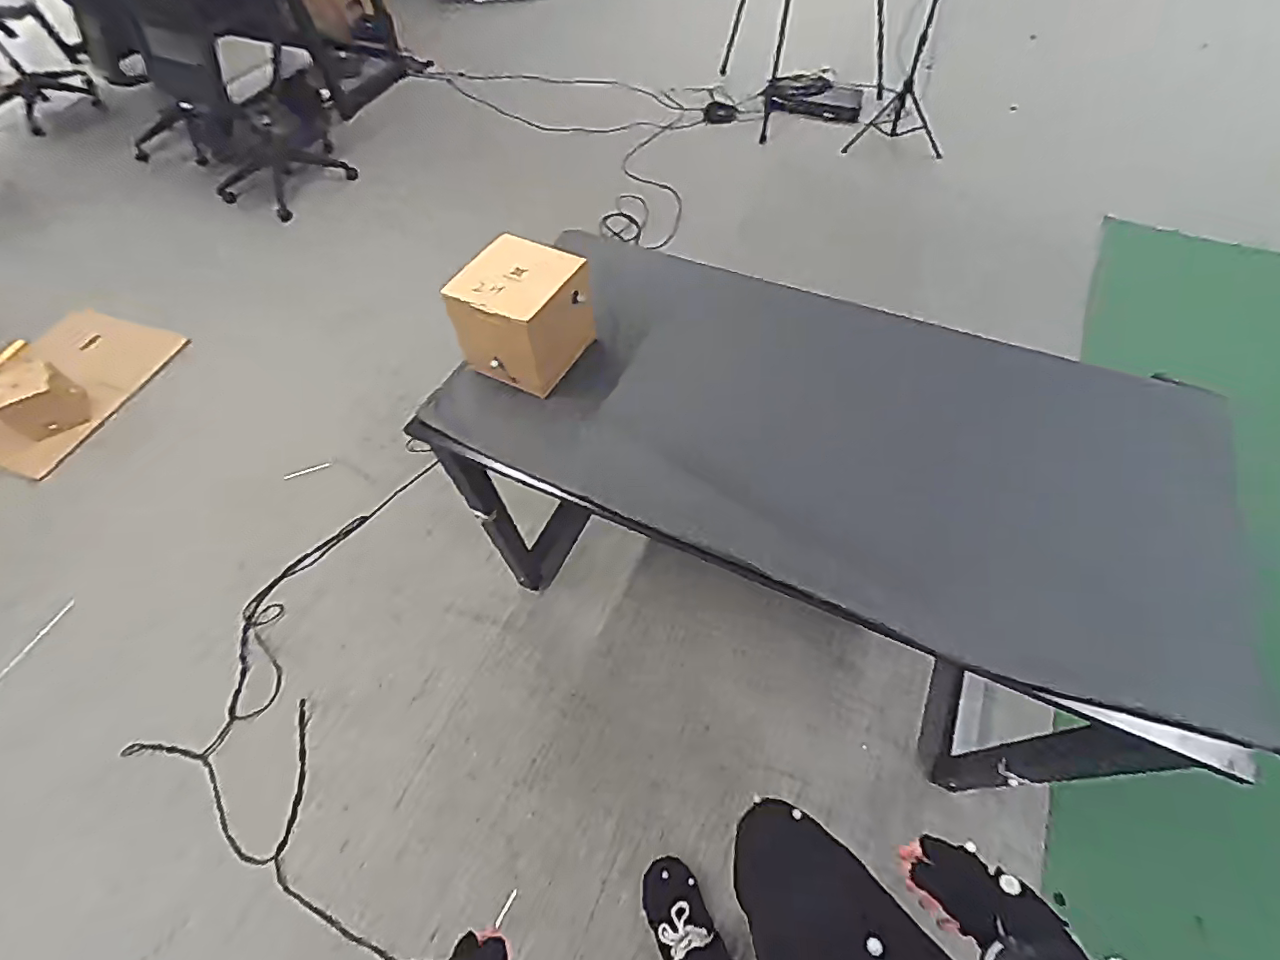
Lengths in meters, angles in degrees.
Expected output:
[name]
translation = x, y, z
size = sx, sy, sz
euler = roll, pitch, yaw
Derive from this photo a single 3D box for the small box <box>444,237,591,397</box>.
[small box]
translation = -0.196, -0.277, 0.928
size = 0.168, 0.176, 0.179
euler = 24, 61, 16
